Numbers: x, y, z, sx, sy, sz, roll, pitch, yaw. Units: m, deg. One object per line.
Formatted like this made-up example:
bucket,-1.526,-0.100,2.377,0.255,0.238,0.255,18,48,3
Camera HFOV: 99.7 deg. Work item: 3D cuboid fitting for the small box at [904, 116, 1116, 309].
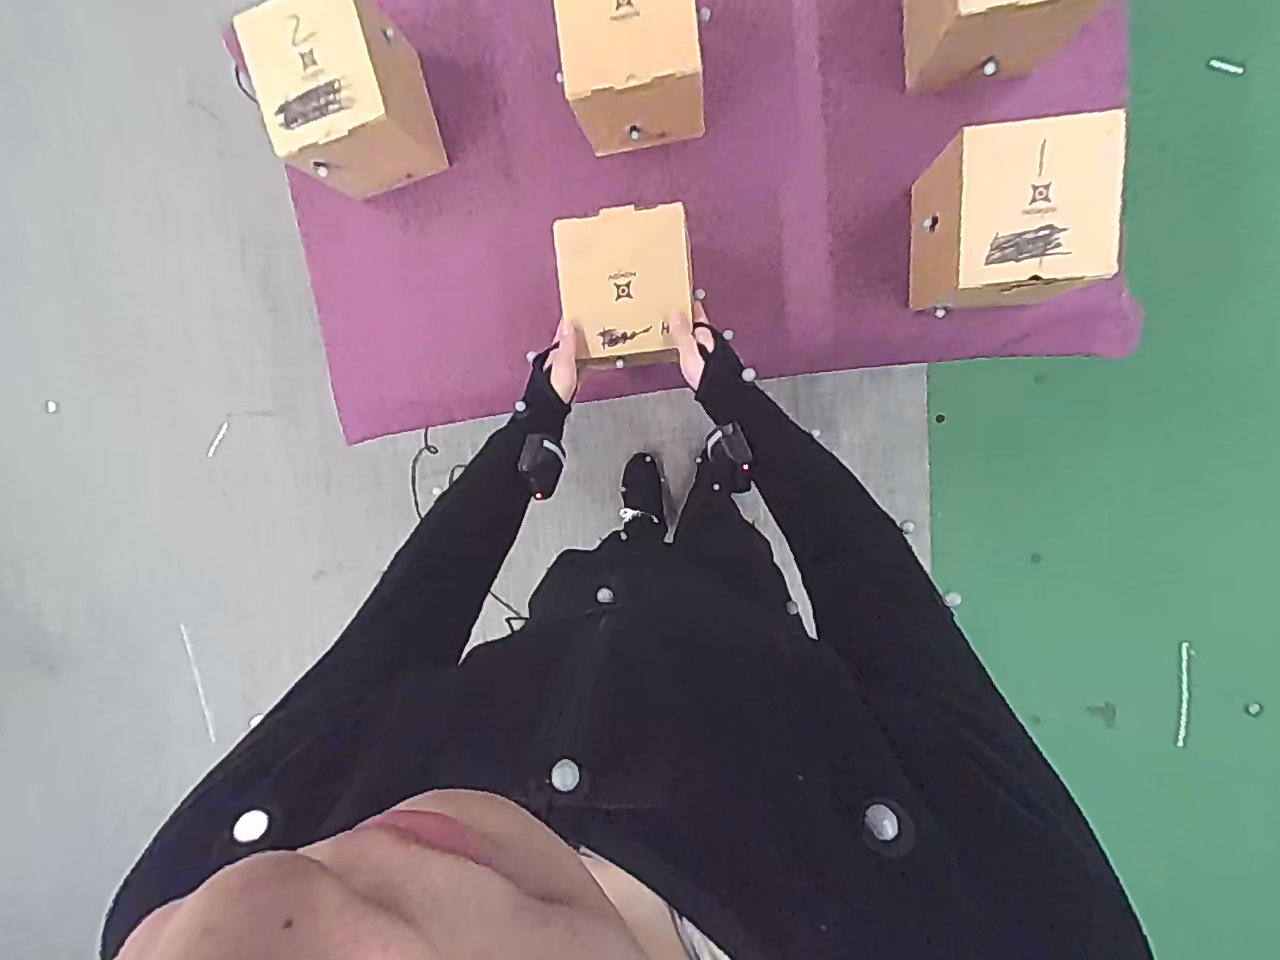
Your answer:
small box,0.450,-0.320,0.689,0.168,0.176,0.179,-2,97,8

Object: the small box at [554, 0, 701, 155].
small box,-0.012,-0.564,0.708,0.168,0.176,0.179,-6,100,8

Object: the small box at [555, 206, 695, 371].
small box,-0.012,-0.253,0.757,0.168,0.176,0.179,-4,97,8

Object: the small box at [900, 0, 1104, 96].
small box,0.422,-0.607,0.645,0.168,0.176,0.179,-5,100,9
